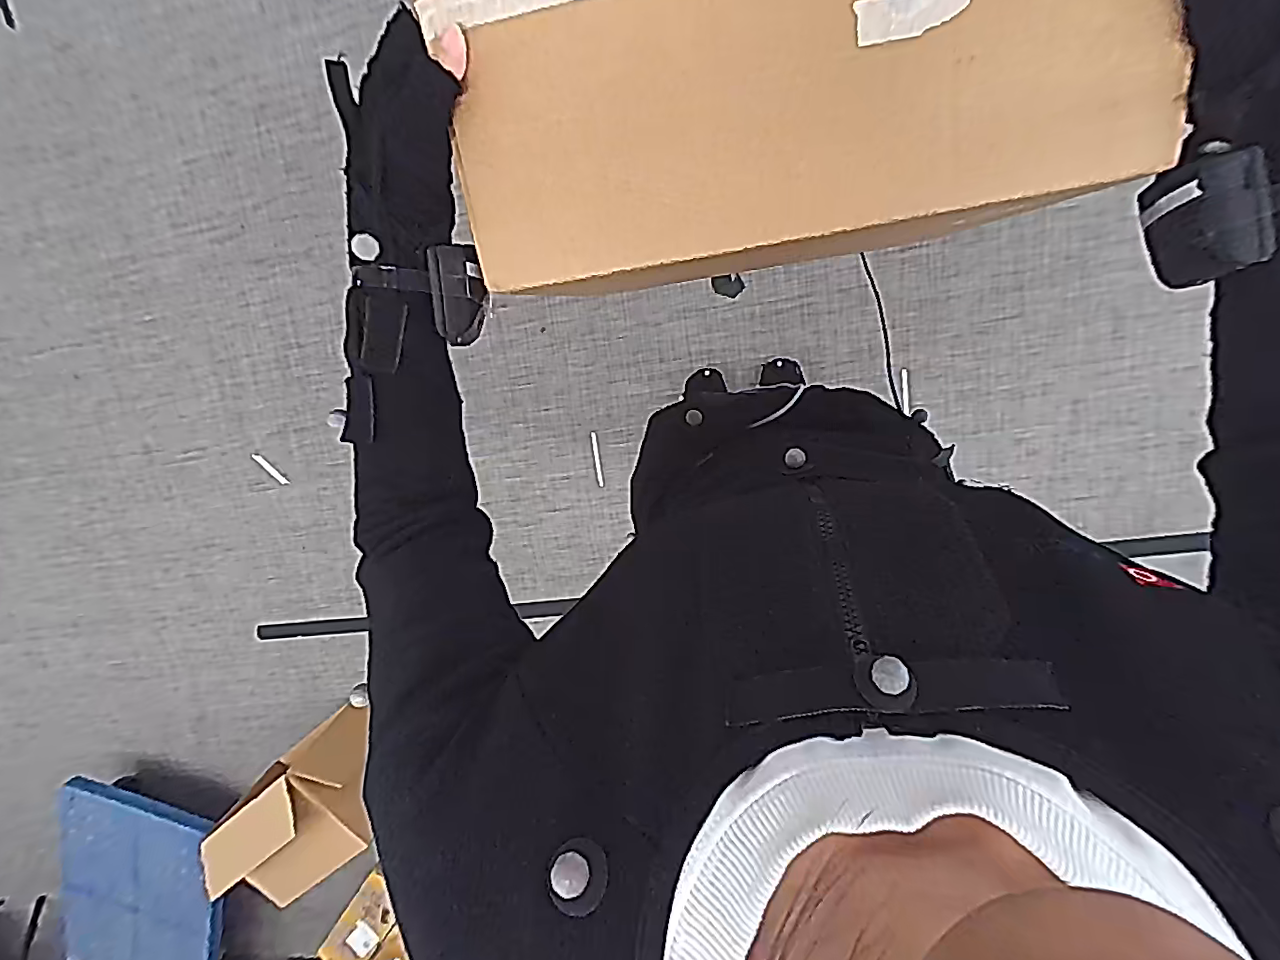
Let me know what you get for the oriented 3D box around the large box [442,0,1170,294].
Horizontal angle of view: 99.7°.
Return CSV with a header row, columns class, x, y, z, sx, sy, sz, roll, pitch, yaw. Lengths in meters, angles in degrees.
class,x,y,z,sx,sy,sz,roll,pitch,yaw
large box,0.090,-0.349,0.439,0.408,0.320,0.320,-7,108,9
